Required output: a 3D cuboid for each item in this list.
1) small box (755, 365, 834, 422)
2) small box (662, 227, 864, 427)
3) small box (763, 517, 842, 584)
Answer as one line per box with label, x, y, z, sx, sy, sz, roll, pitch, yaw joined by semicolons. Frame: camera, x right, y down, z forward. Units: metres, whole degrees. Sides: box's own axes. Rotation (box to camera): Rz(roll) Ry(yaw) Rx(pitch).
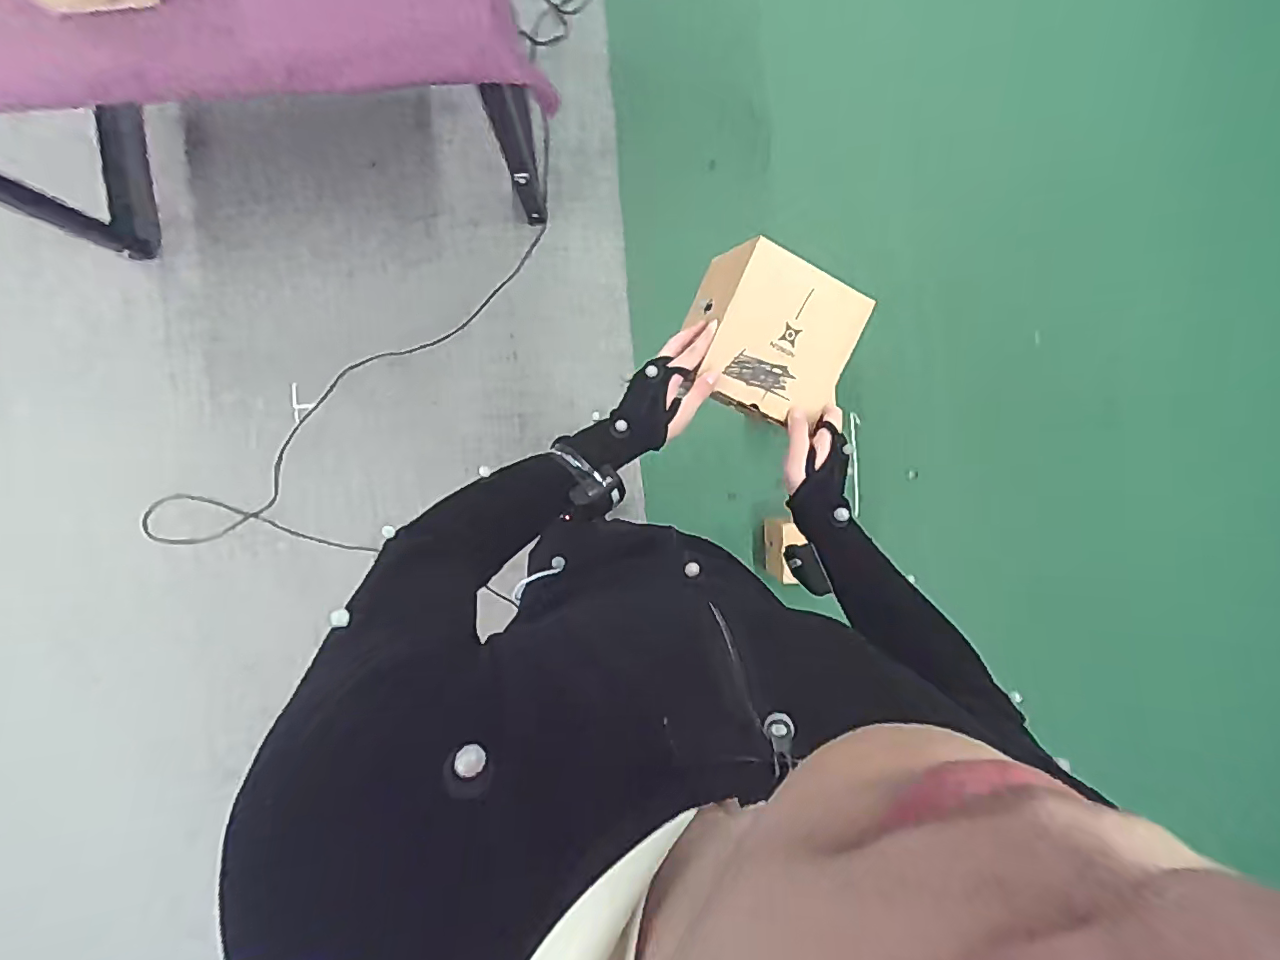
small box;0.438;-0.258;1.552;0.179;0.176;0.168;-3;91;-3
small box;0.140;-0.187;0.694;0.168;0.176;0.179;21;98;-15
small box;0.466;0.199;1.568;0.179;0.176;0.168;-3;92;-2
